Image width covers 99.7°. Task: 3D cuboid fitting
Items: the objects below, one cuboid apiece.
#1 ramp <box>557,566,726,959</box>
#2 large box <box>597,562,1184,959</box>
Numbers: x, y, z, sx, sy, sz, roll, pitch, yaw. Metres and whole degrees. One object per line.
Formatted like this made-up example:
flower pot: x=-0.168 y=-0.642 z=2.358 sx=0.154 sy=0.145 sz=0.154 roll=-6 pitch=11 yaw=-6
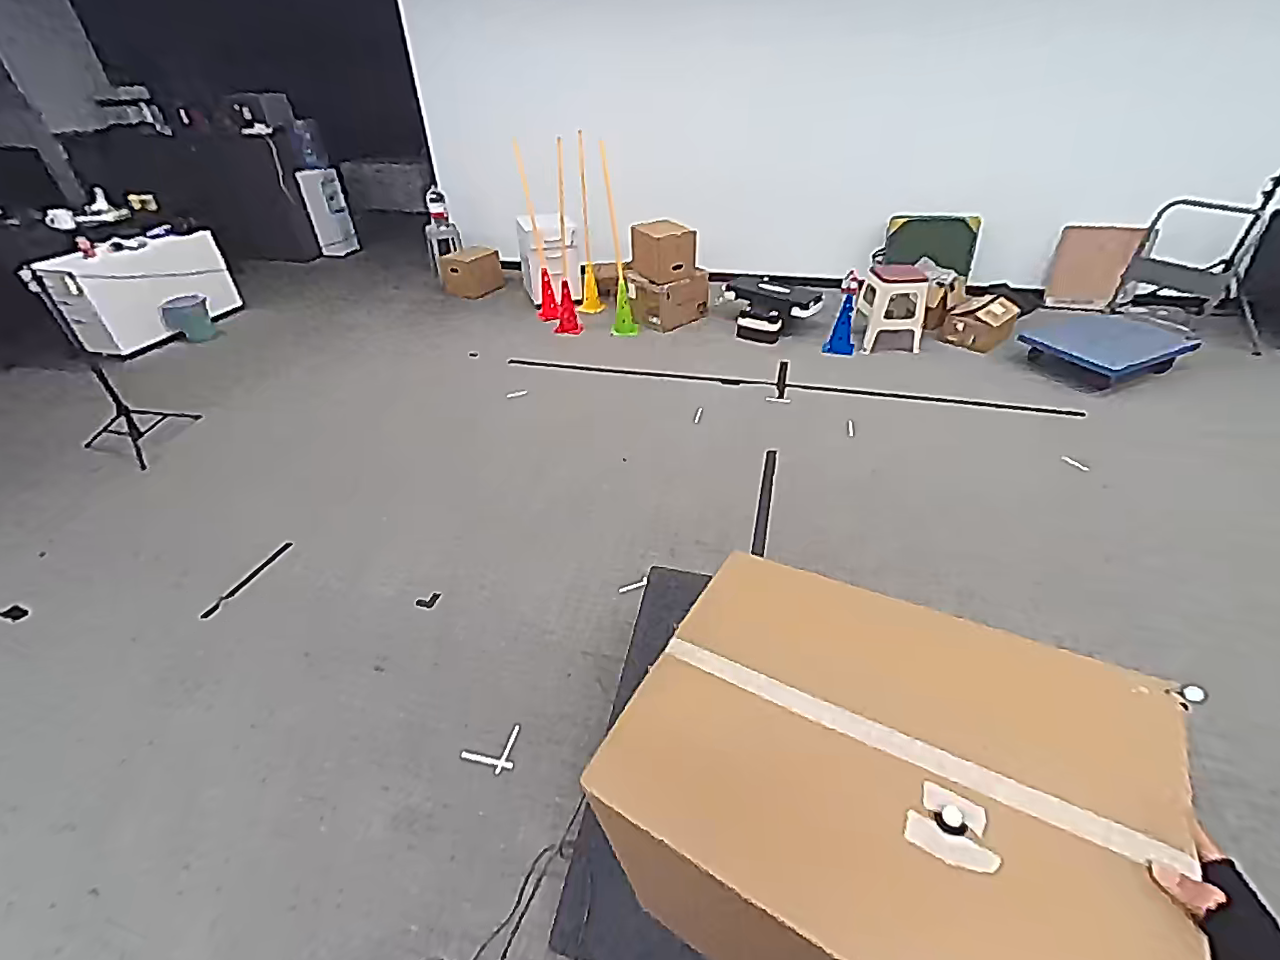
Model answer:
ramp: x=0.163 y=0.683 z=1.462 sx=0.509 sy=0.206 sz=0.991 roll=7 pitch=38 yaw=10
large box: x=0.226 y=0.343 z=0.558 sx=0.408 sy=0.320 sz=0.320 roll=14 pitch=44 yaw=32
